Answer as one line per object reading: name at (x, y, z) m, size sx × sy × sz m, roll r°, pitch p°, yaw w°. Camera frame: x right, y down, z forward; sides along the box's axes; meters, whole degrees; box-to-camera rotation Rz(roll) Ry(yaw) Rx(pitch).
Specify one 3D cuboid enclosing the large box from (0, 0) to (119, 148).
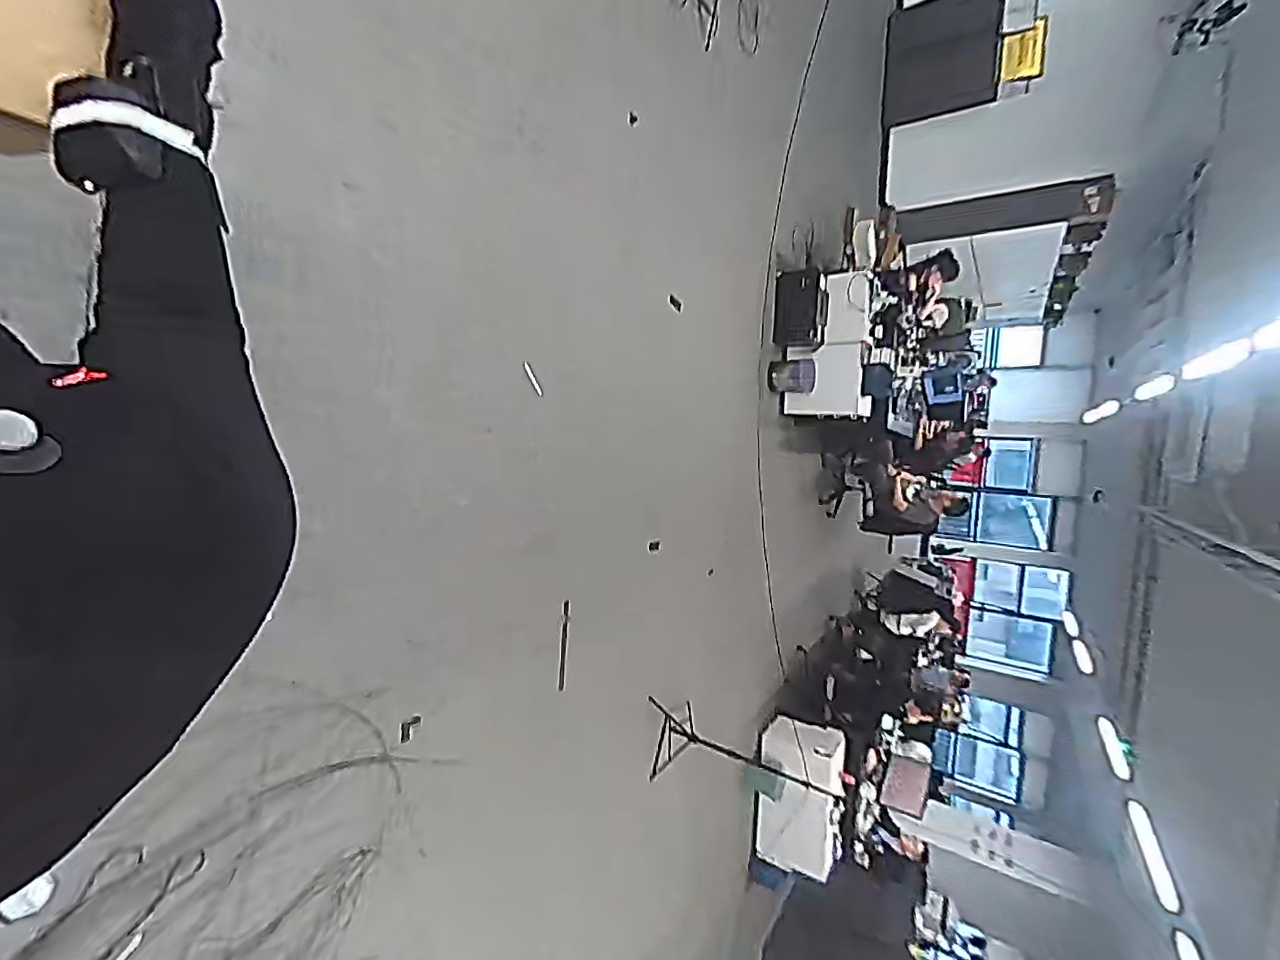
large box at (-0.622, -0.444, 0.310) m, size 0.408 × 0.320 × 0.320 m, roll -7°, pitch 112°, yaw -60°
